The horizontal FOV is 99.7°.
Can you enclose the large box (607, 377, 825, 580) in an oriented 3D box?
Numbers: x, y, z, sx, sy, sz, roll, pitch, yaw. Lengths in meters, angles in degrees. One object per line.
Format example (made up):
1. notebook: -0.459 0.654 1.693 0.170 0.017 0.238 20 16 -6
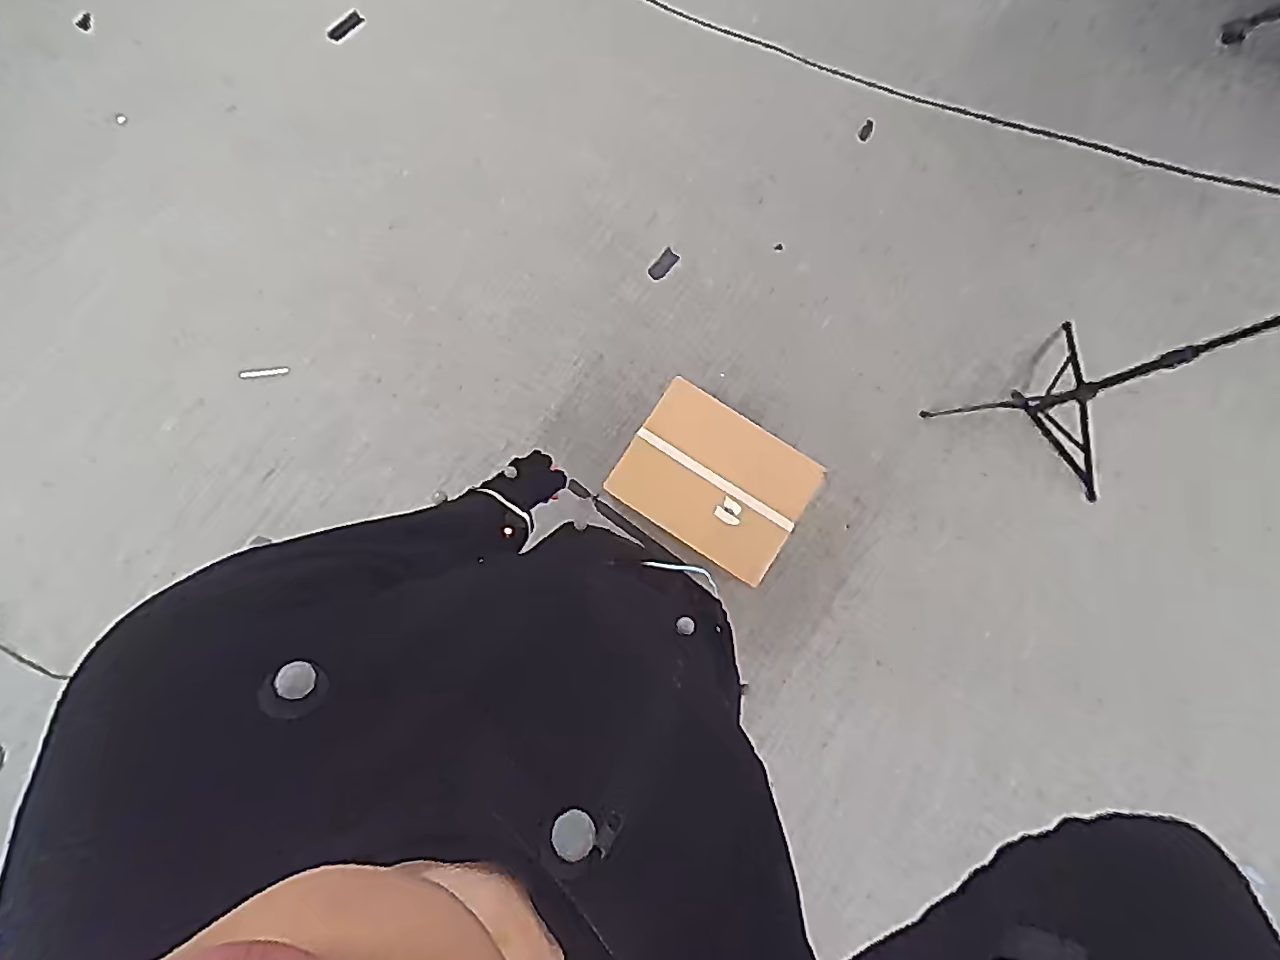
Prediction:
1. large box: 0.168 0.009 1.359 0.408 0.320 0.320 34 85 4
